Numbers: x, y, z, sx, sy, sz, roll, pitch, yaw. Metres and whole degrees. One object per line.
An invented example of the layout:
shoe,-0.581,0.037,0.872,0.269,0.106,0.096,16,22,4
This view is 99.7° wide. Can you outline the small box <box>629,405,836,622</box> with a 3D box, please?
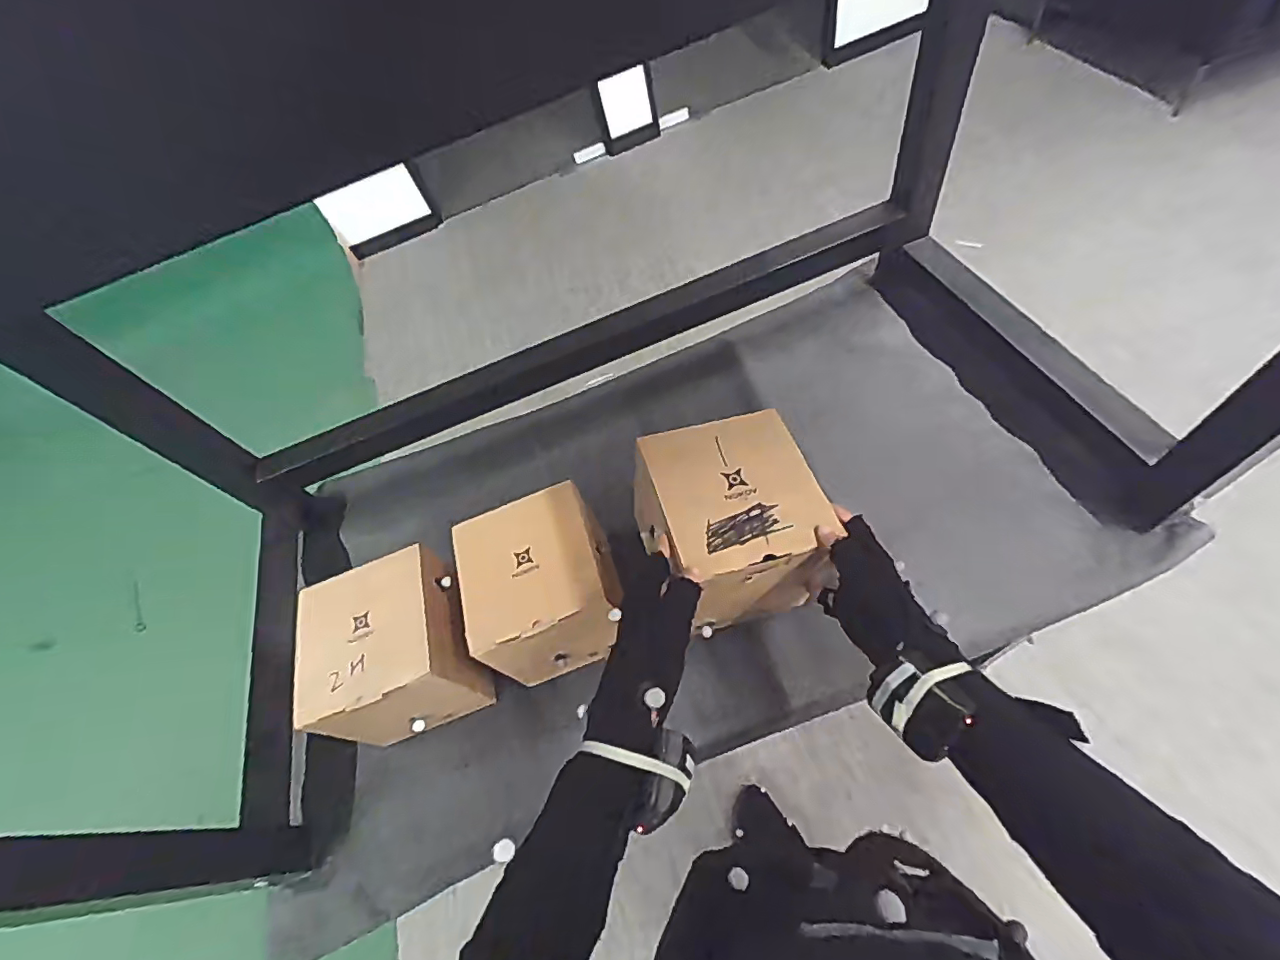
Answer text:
small box,0.088,0.046,0.616,0.168,0.176,0.179,-12,57,-11
